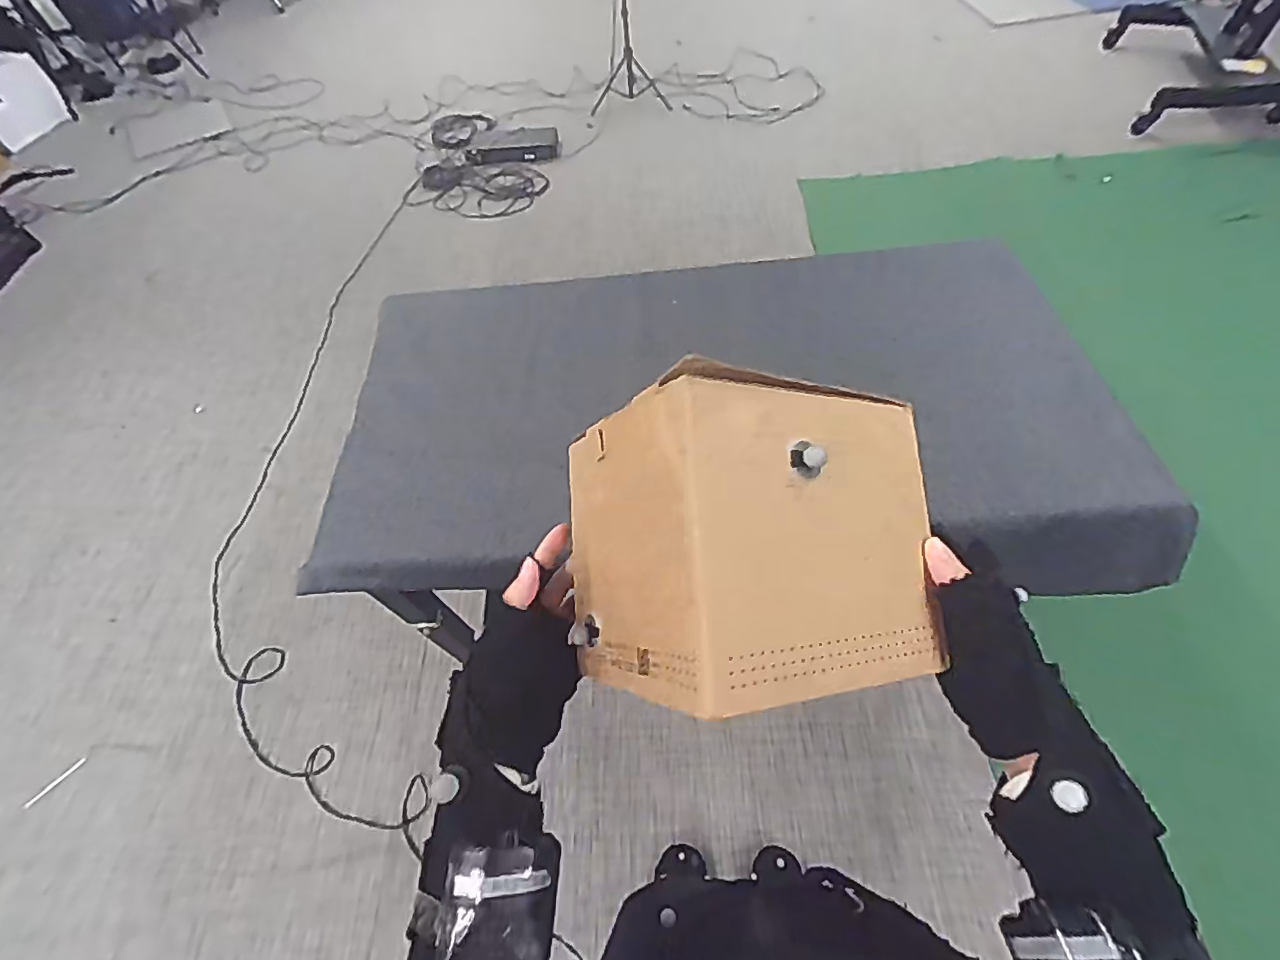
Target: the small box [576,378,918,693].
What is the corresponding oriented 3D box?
[{"bbox_3d":[0.067,0.044,0.382,0.179,0.168,0.176,3,78,-29],"label":"small box"}]
